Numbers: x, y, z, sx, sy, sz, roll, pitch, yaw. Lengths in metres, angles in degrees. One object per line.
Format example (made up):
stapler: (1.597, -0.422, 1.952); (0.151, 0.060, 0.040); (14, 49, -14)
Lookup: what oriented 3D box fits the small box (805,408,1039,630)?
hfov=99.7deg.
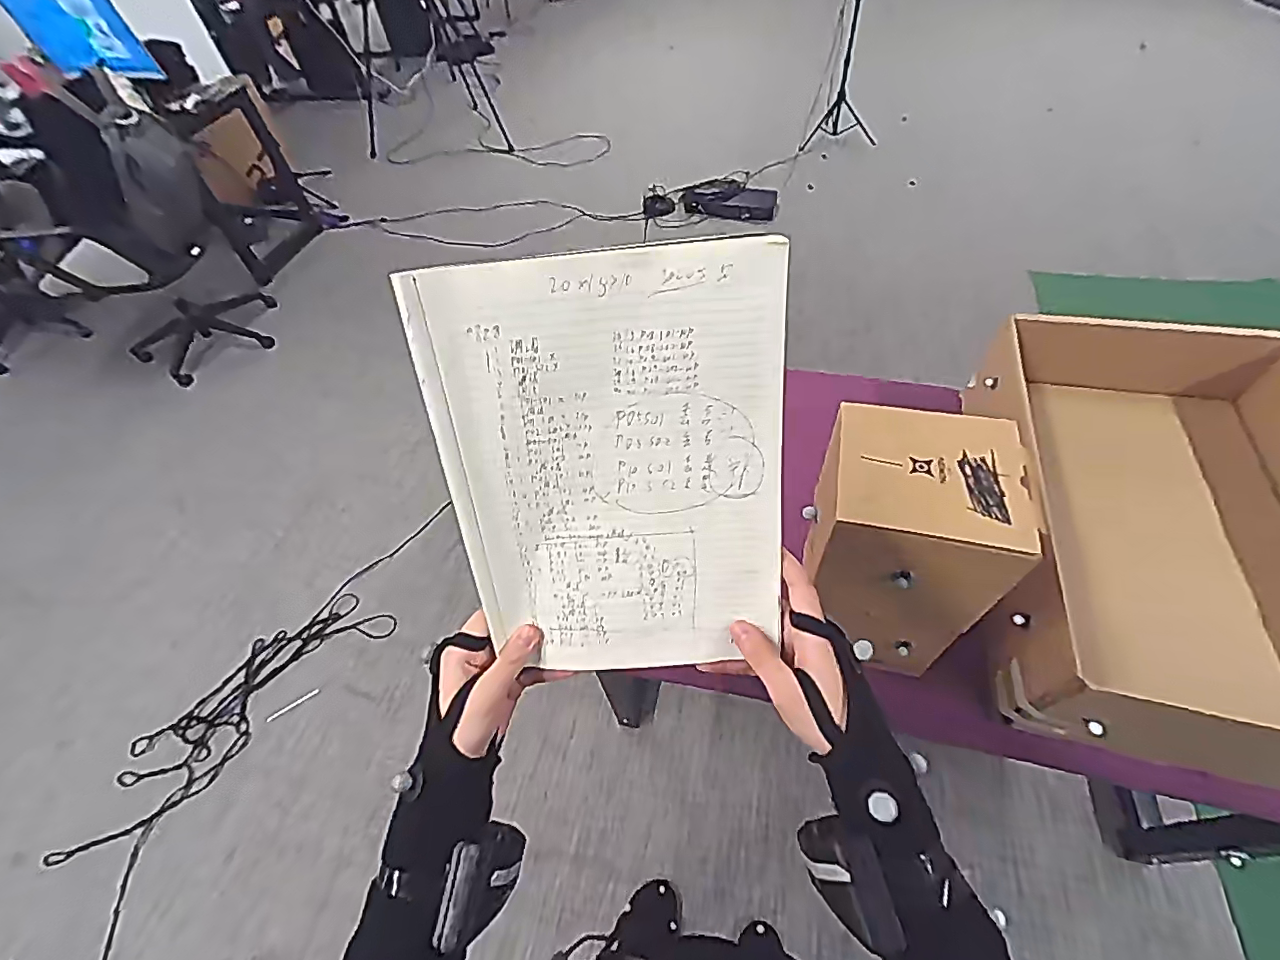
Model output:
small box: (0.291, 0.047, 0.595); (0.179, 0.176, 0.168); (10, 52, 13)

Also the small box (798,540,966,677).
small box: (0.313, 0.142, 0.727); (0.168, 0.176, 0.179); (10, 52, 13)
